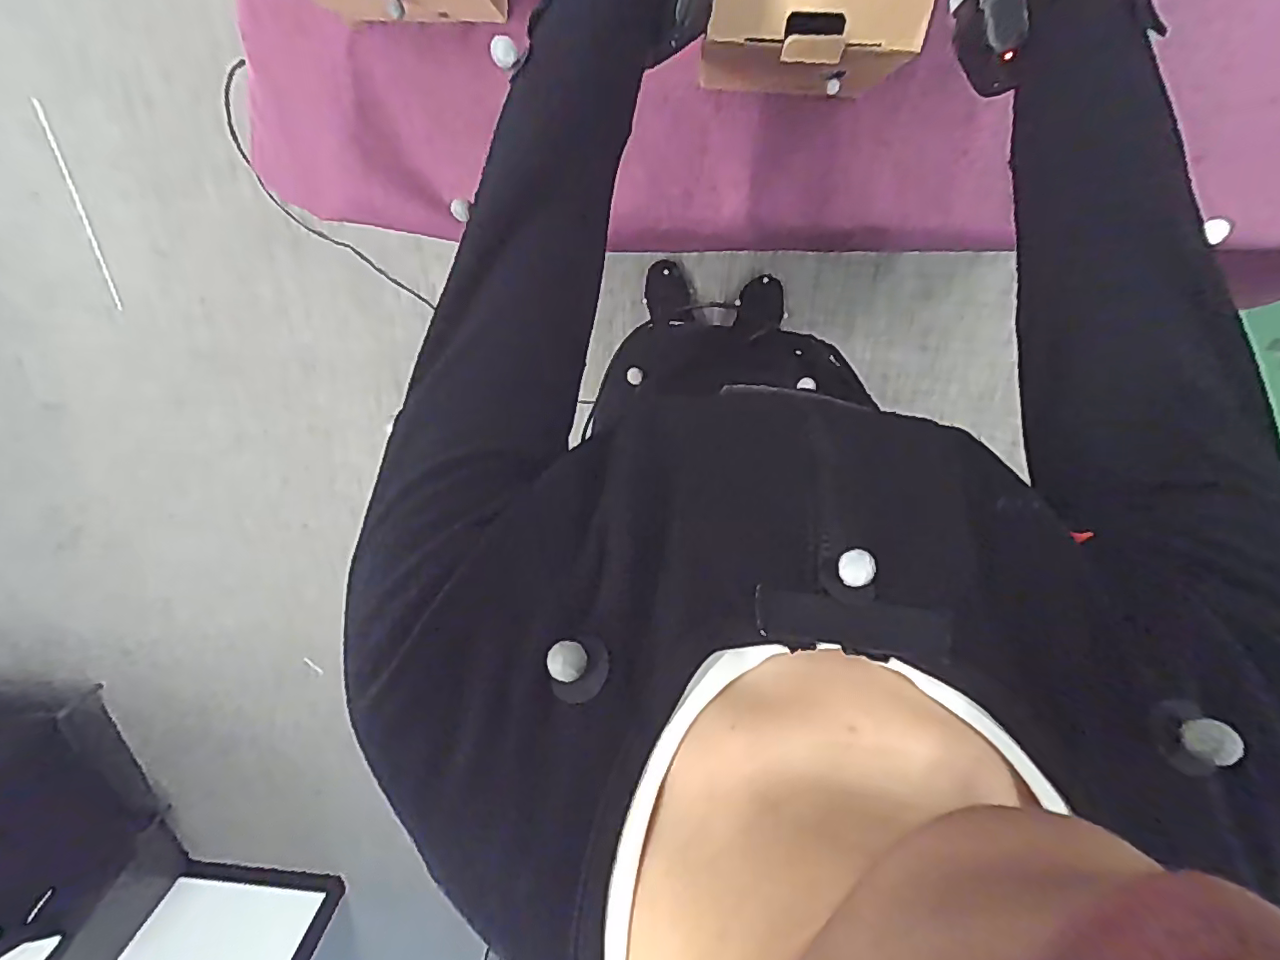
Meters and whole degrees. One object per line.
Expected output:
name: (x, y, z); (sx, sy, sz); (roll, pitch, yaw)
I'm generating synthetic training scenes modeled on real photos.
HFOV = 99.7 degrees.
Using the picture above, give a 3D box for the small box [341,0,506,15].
small box: (-0.215, -0.508, 0.437); (0.168, 0.176, 0.179); (3, 117, 4)

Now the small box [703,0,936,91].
small box: (0.144, -0.436, 0.437); (0.168, 0.176, 0.179); (6, 116, 3)
